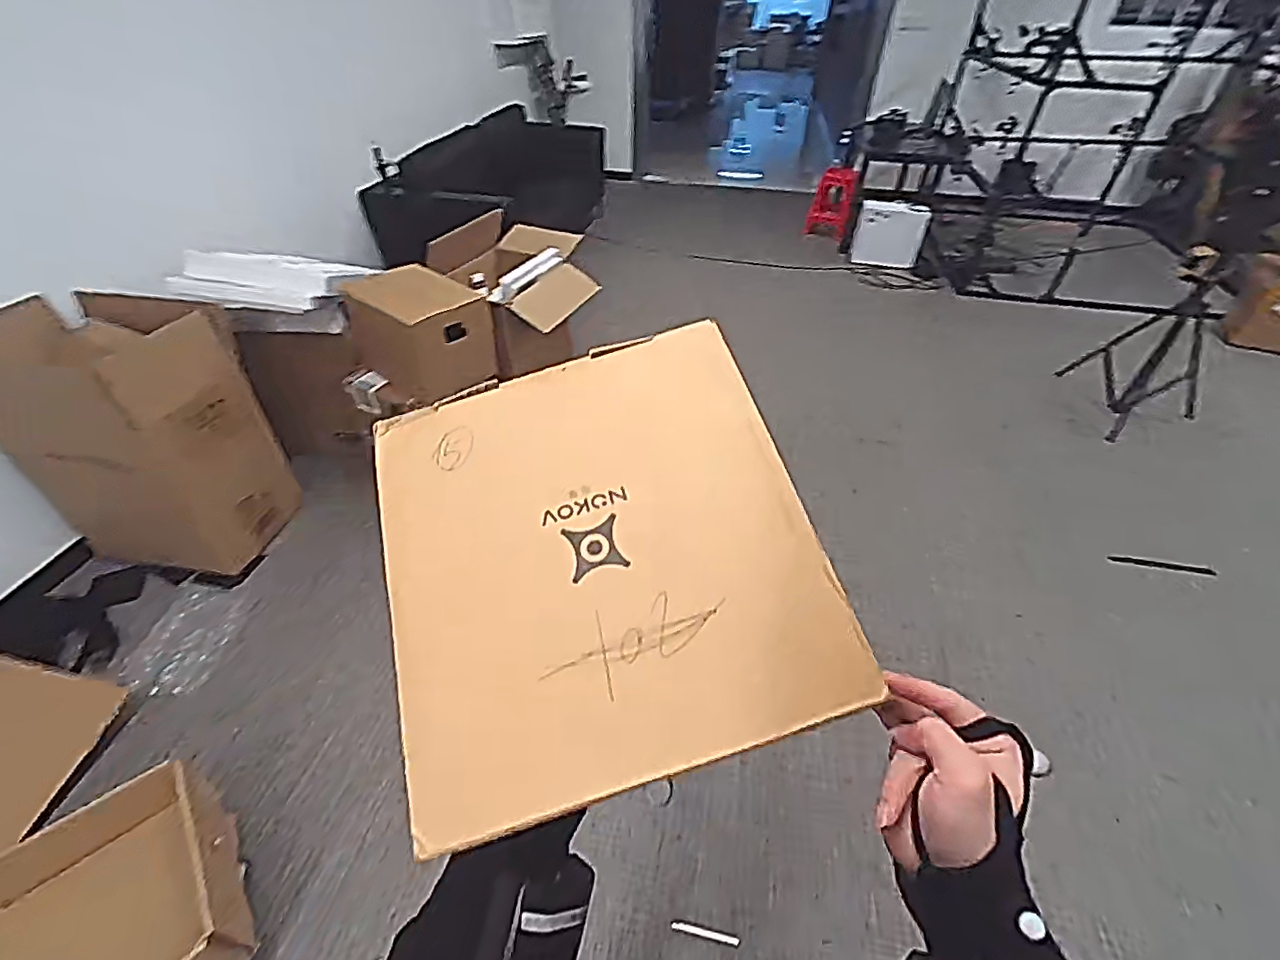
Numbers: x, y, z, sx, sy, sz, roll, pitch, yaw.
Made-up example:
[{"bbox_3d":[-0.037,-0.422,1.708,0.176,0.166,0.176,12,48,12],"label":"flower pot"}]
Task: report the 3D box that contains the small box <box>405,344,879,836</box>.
[{"bbox_3d":[-0.005,0.063,0.300,0.168,0.176,0.179,-18,65,-1],"label":"small box"}]
